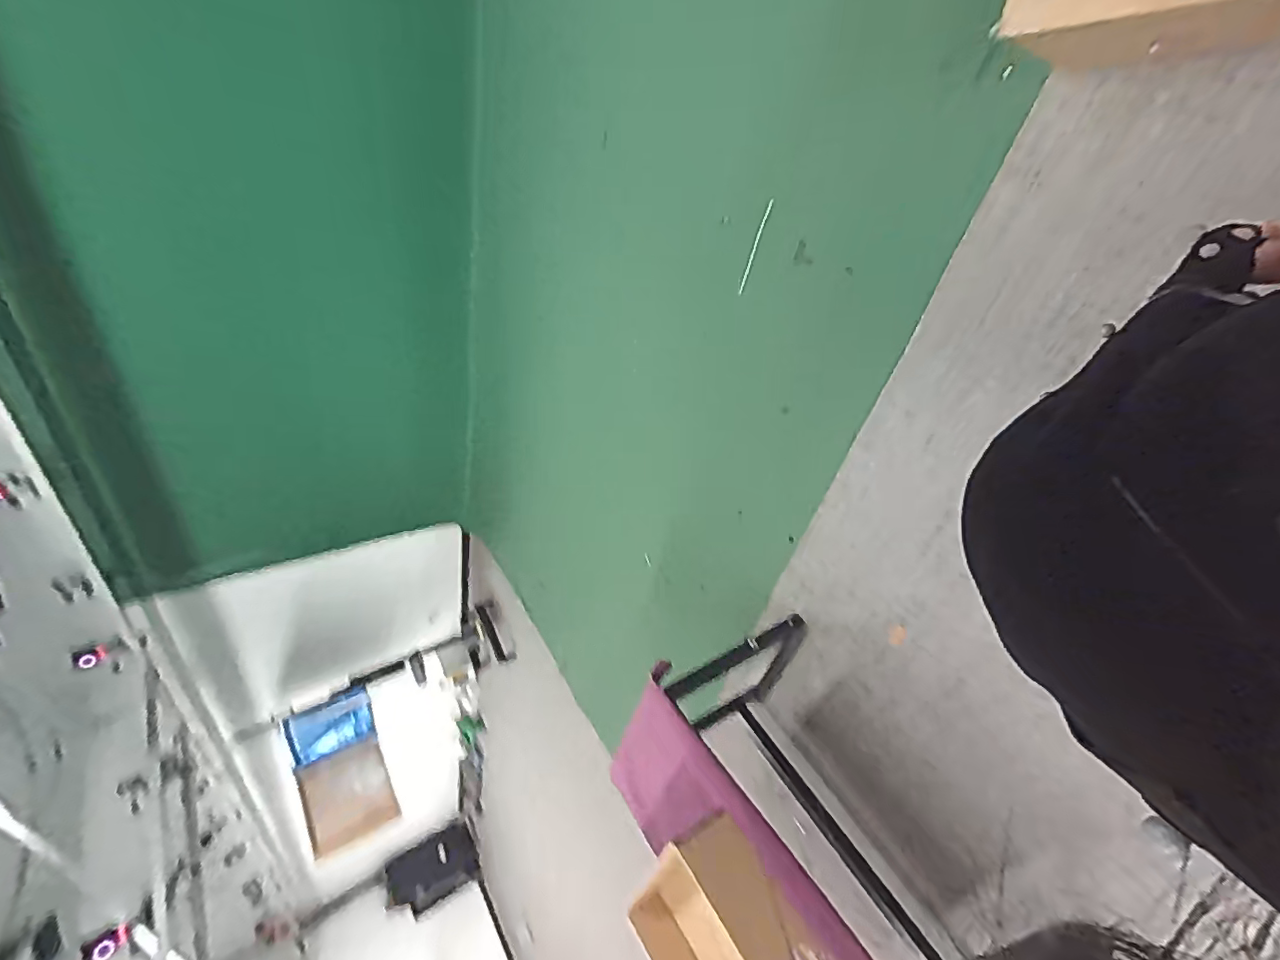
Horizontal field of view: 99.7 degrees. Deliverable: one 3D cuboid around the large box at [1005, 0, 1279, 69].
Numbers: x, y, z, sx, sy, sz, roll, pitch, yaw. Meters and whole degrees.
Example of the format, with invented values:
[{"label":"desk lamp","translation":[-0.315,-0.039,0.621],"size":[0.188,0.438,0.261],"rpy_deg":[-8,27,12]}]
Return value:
[{"label":"large box","translation":[0.913,-0.903,0.863],"size":[0.408,0.320,0.320],"rpy_deg":[34,128,46]}]
